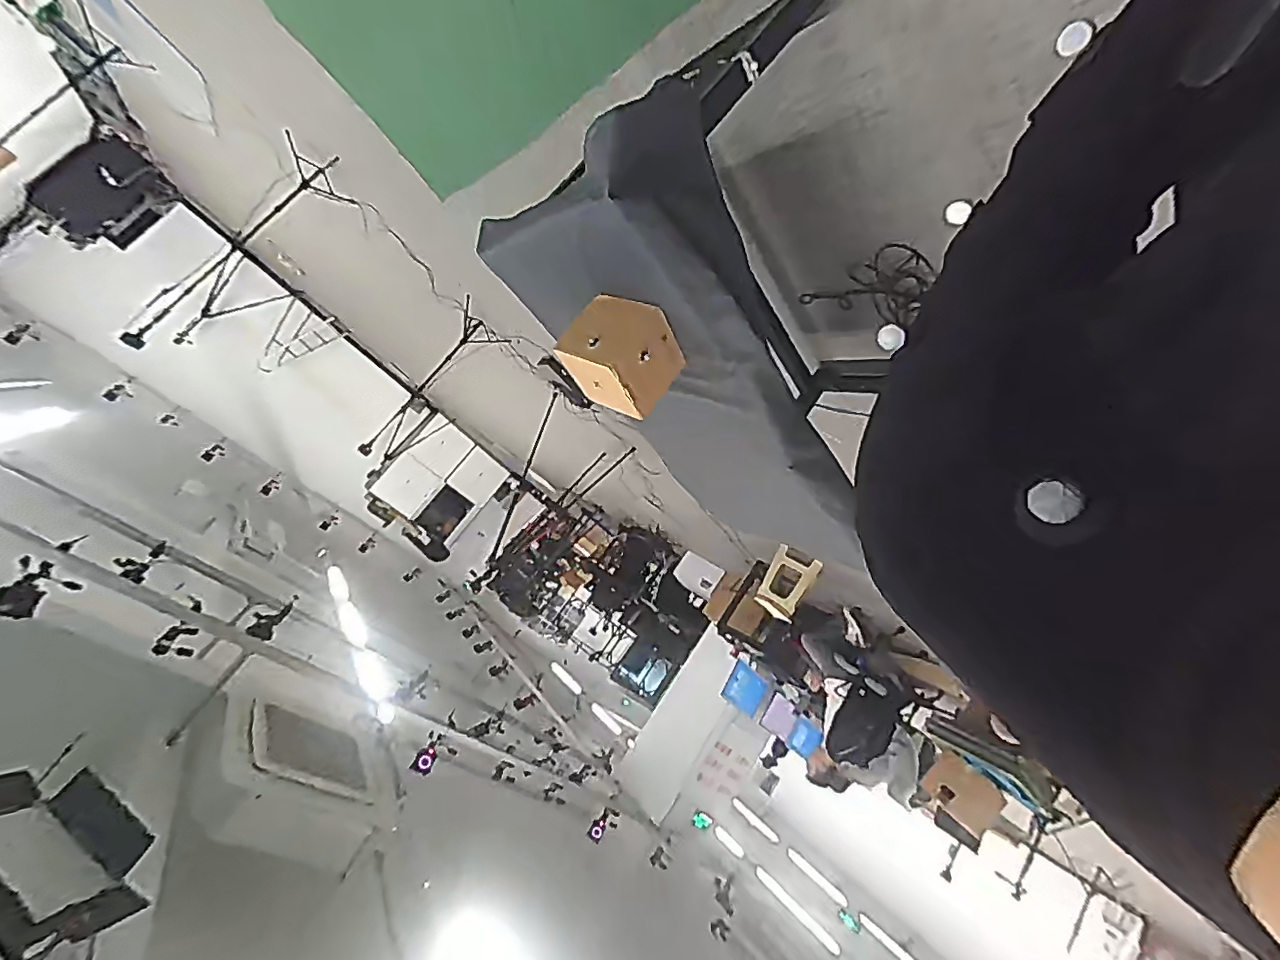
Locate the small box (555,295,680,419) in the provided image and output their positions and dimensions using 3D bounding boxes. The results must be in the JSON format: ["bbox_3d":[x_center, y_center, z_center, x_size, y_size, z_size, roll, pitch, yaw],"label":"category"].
[{"bbox_3d":[-0.036,-0.261,1.128,0.179,0.176,0.168,28,162,37],"label":"small box"}]
